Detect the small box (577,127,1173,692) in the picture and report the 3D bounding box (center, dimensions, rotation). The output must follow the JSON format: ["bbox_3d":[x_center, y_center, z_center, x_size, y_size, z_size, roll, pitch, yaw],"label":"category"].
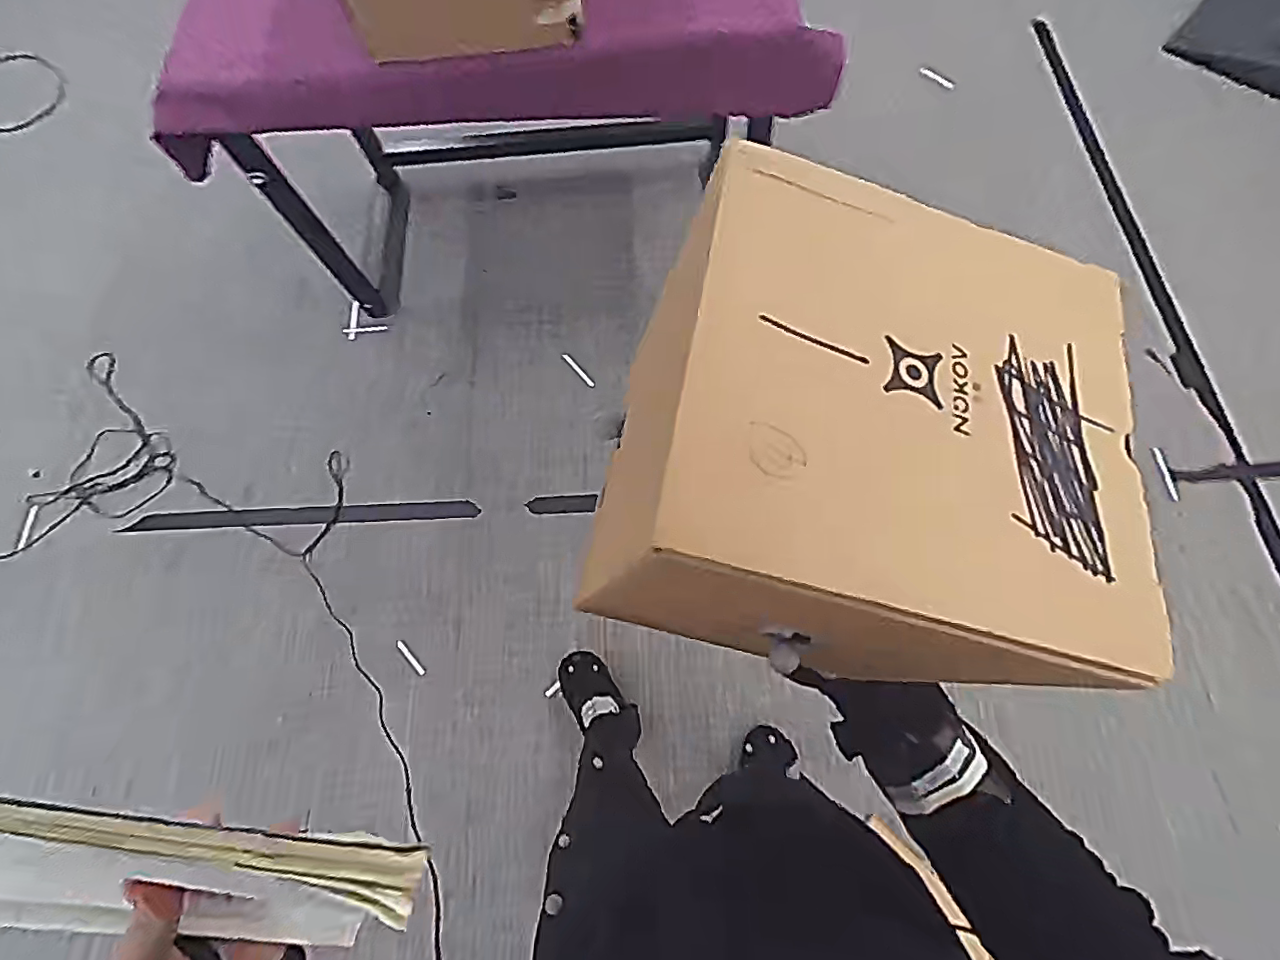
[{"bbox_3d":[0.080,-0.008,0.256,0.179,0.176,0.168,16,68,-8],"label":"small box"}]
